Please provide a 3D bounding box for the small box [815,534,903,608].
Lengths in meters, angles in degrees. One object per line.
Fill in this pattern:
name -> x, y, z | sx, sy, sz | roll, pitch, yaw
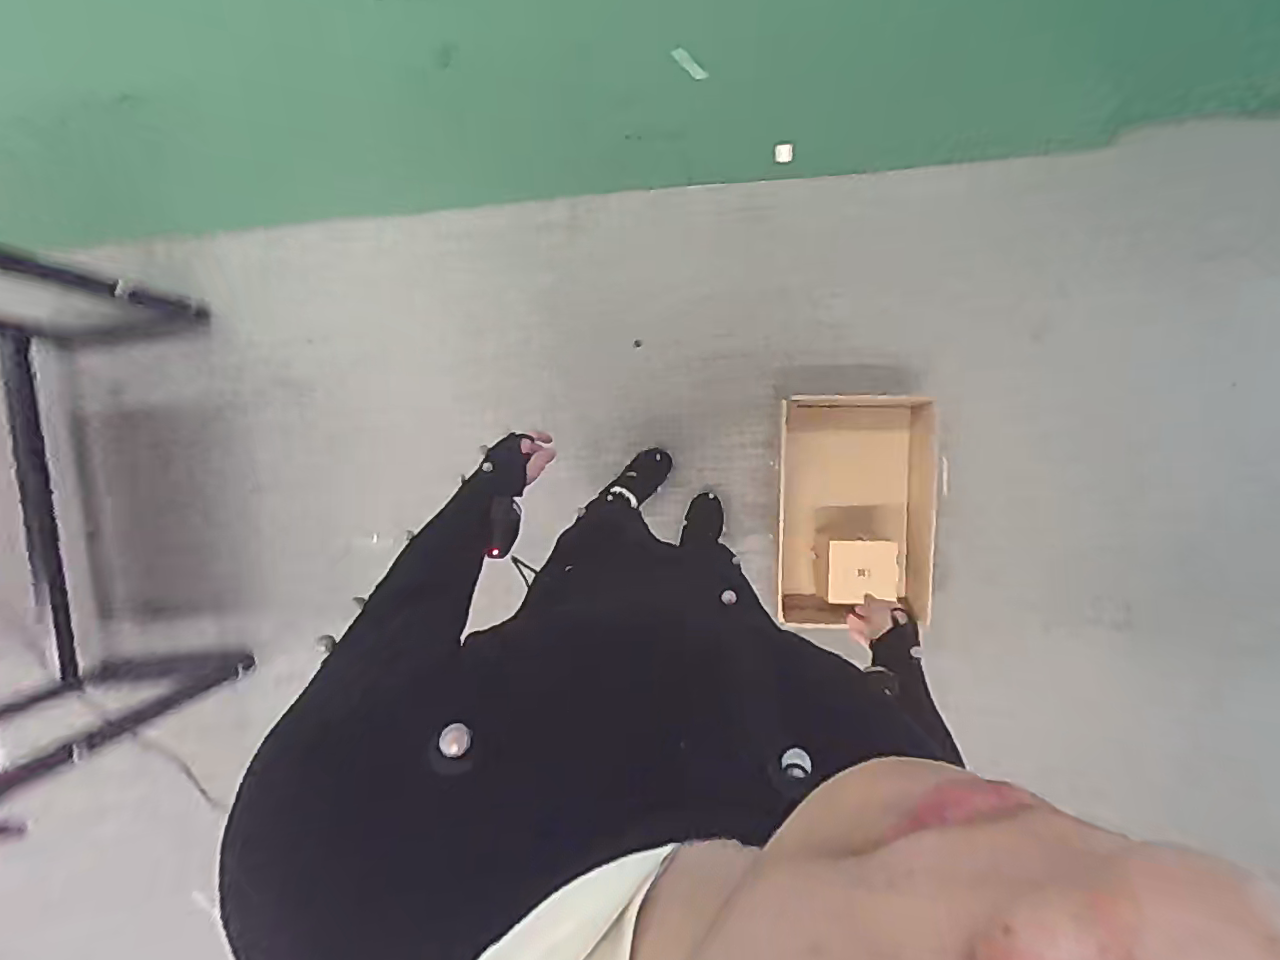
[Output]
small box -> 0.584, 0.239, 1.458 | 0.179, 0.176, 0.168 | 1, 92, 4
